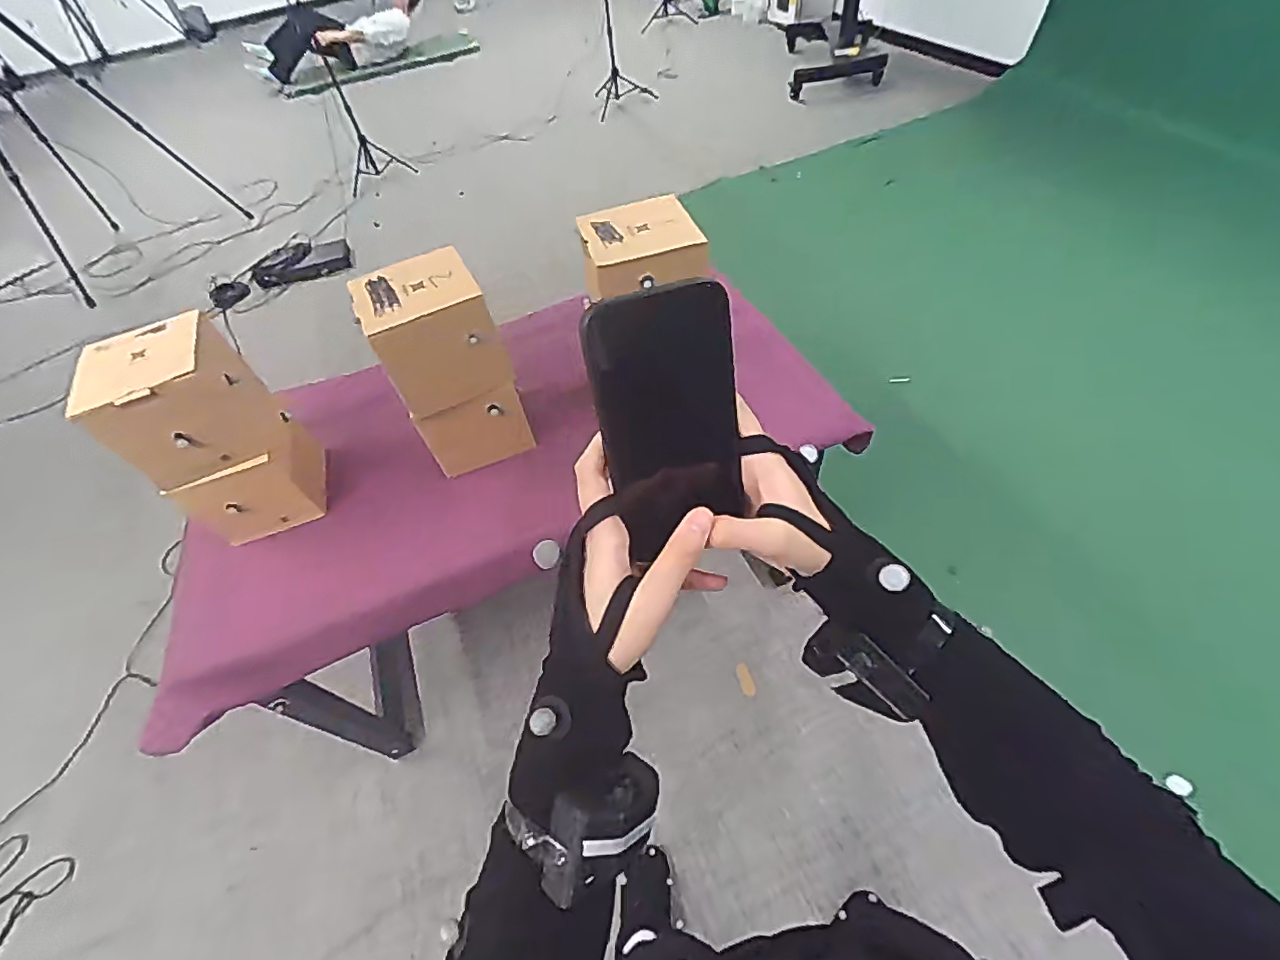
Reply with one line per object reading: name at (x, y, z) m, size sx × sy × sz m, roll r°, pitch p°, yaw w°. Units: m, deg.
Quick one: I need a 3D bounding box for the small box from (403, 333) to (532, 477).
small box at (-0.312, -0.136, 1.005) m, size 0.179 × 0.176 × 0.168 m, roll -21°, pitch 53°, yaw -8°

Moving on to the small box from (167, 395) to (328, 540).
small box at (-0.681, -0.013, 0.962) m, size 0.168 × 0.176 × 0.179 m, roll -20°, pitch 53°, yaw -8°

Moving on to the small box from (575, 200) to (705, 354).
small box at (0.004, -0.336, 0.910) m, size 0.179 × 0.176 × 0.168 m, roll -16°, pitch 52°, yaw -5°

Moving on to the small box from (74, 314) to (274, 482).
small box at (-0.702, -0.119, 0.838) m, size 0.168 × 0.176 × 0.179 m, roll -24°, pitch 54°, yaw -12°
